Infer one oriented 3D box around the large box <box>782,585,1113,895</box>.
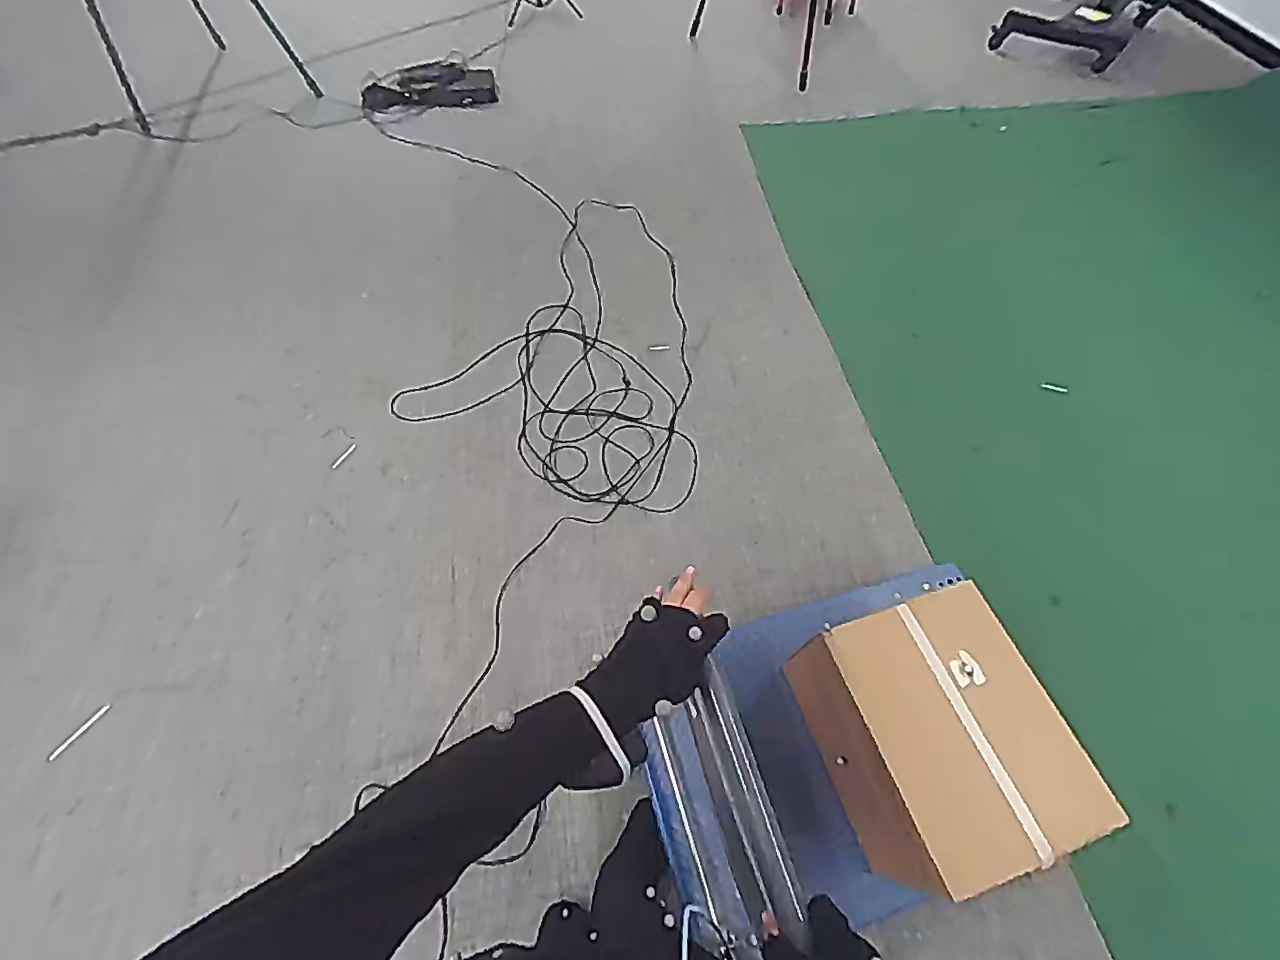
[{"bbox_3d":[0.521,0.473,1.023,0.320,0.320,0.408,-16,61,-10],"label":"large box"}]
